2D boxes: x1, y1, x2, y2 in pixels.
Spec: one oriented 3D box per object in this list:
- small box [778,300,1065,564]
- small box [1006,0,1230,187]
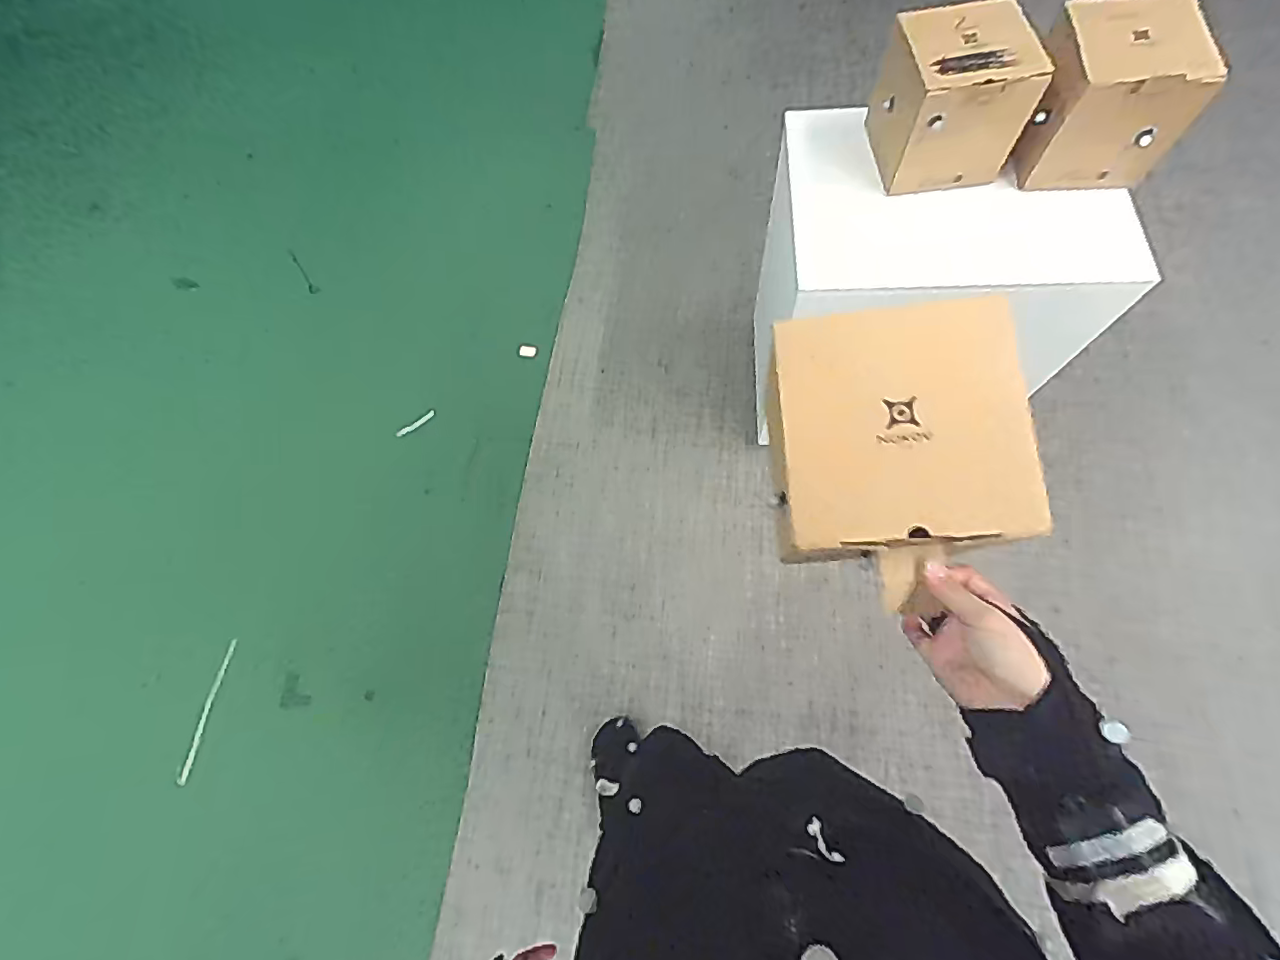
[{"bbox_3d":[0.210,-0.024,0.460,0.168,0.176,0.179,-4,78,11],"label":"small box"},{"bbox_3d":[0.677,-0.557,0.793,0.168,0.176,0.179,2,68,6],"label":"small box"}]
